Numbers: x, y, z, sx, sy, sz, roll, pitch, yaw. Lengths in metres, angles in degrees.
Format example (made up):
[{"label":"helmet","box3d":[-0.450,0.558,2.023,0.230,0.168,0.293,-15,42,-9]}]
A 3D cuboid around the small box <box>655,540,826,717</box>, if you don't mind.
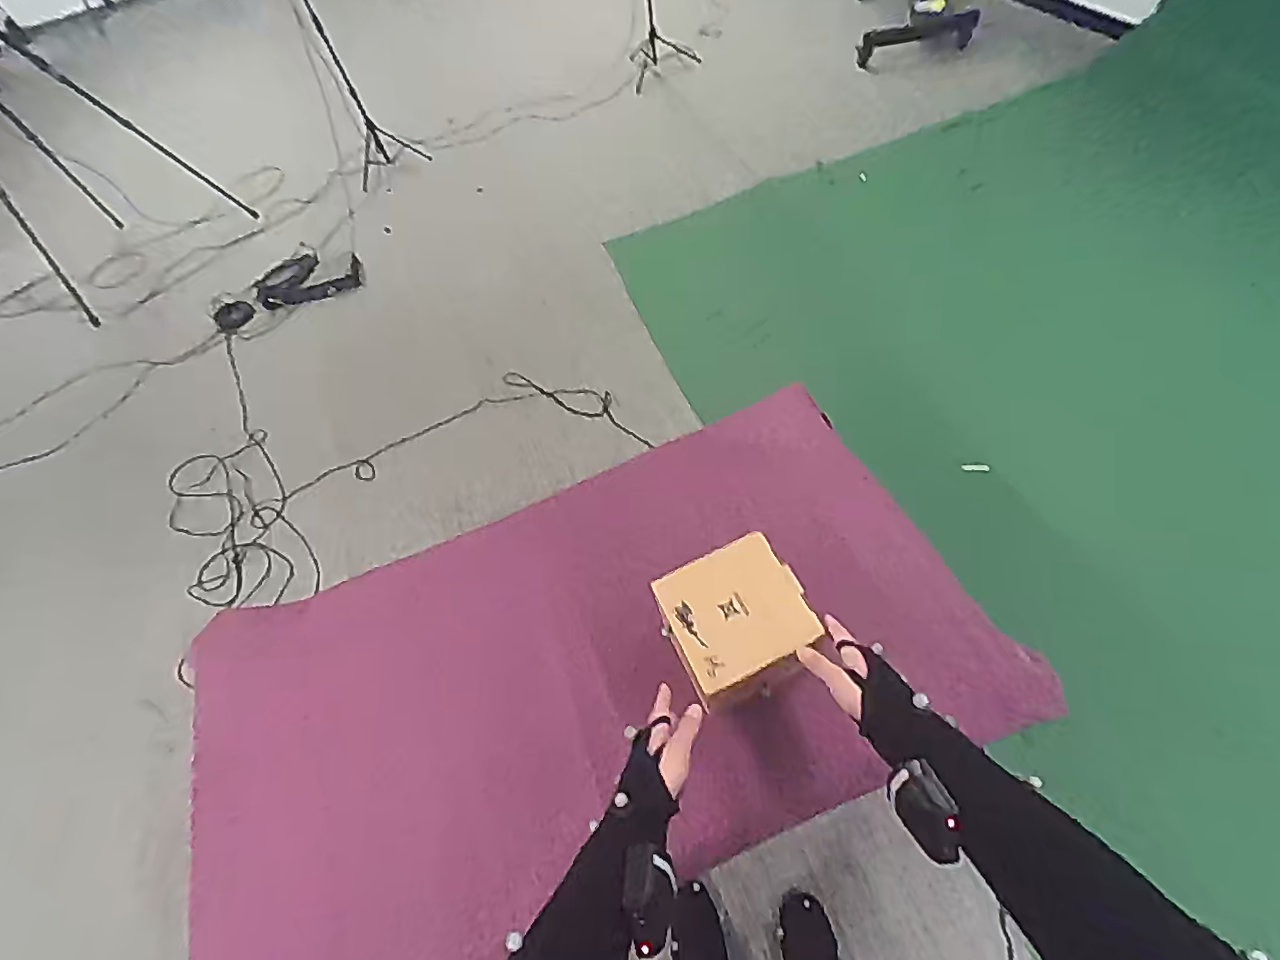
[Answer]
[{"label":"small box","box3d":[0.138,0.219,0.784,0.179,0.176,0.168,-24,57,-6]}]
